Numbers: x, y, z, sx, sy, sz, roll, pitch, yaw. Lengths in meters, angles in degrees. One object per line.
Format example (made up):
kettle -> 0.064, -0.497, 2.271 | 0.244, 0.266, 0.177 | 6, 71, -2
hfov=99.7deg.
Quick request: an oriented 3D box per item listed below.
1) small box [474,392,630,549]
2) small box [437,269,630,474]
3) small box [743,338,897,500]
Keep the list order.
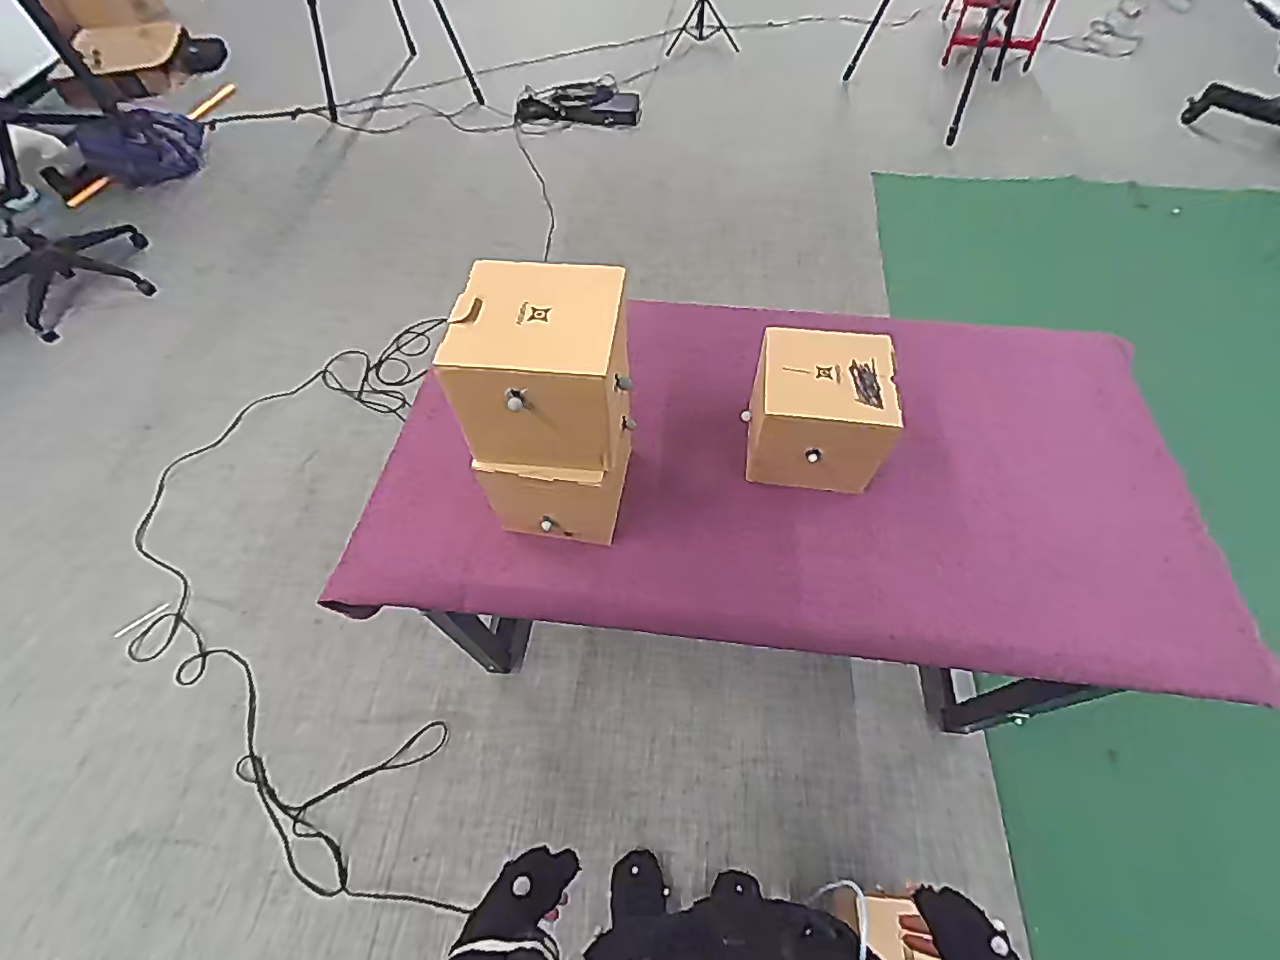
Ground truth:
small box -> -0.111, -0.024, 0.768 | 0.168, 0.176, 0.179 | 8, 58, 6
small box -> -0.106, -0.121, 0.637 | 0.179, 0.176, 0.168 | 5, 58, 4
small box -> 0.257, -0.085, 0.806 | 0.179, 0.176, 0.168 | 7, 58, 6
